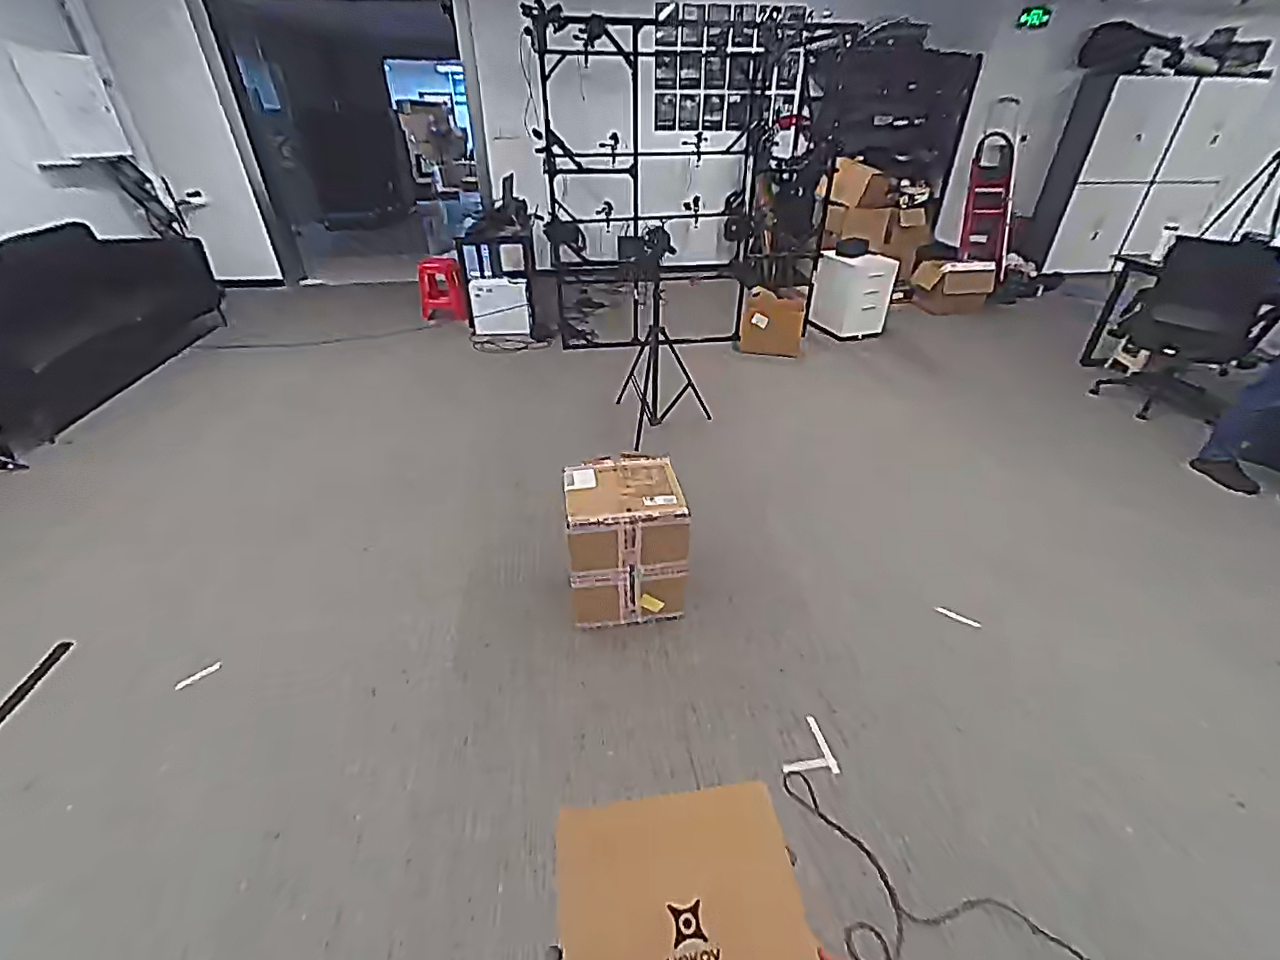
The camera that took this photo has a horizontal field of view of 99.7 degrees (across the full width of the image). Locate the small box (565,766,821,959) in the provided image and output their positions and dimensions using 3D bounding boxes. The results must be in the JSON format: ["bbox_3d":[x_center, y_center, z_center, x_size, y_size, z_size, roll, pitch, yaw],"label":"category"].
[{"bbox_3d":[0.030,0.355,0.421,0.168,0.176,0.179,-5,43,-7],"label":"small box"}]
